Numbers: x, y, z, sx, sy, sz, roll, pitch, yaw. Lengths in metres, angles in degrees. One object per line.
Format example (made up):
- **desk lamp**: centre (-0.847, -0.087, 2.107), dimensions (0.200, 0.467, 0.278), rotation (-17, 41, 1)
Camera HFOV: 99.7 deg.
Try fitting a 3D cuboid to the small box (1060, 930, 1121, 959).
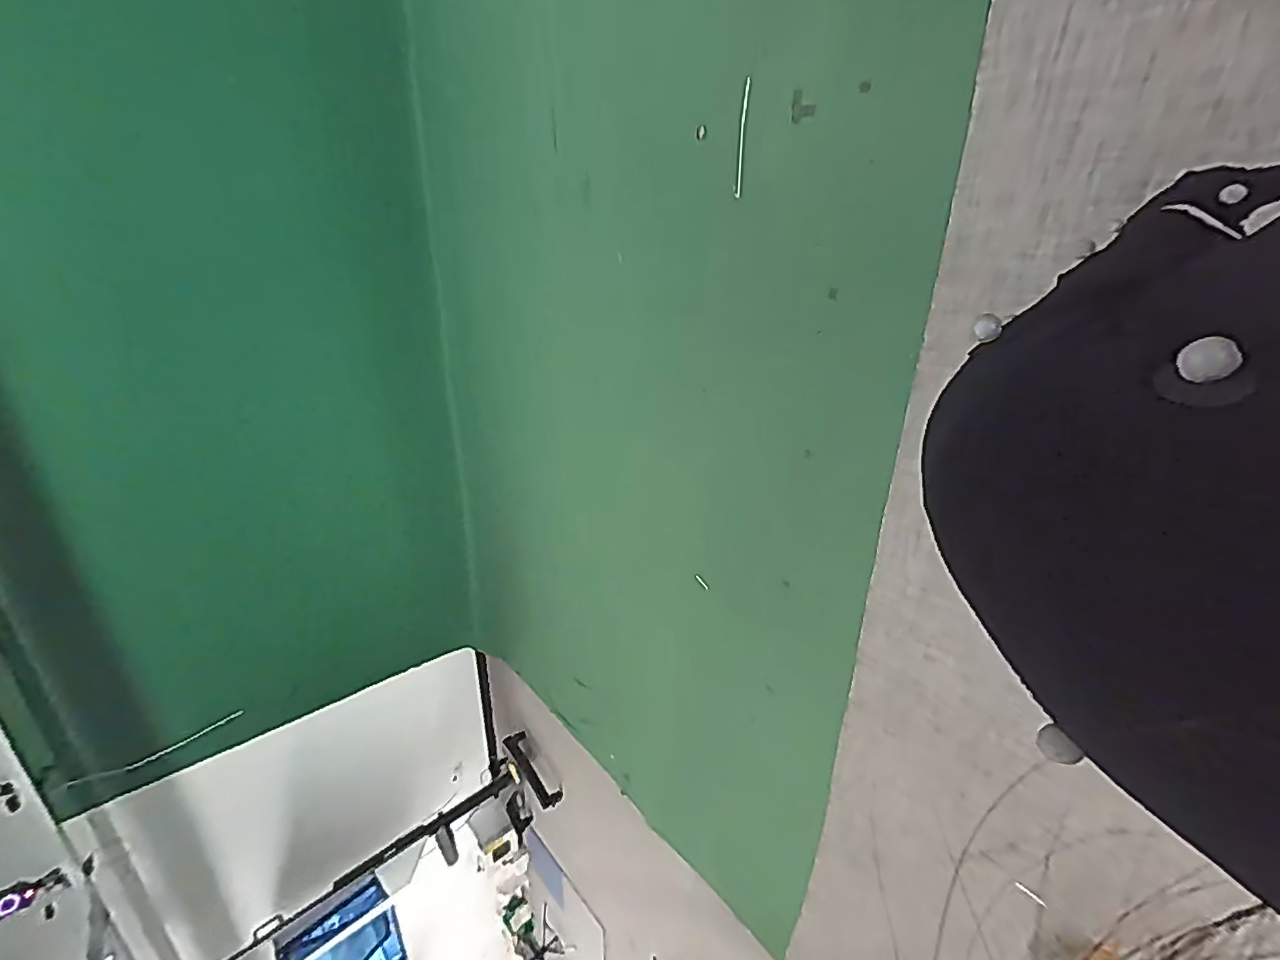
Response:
- **small box**: centre (1.173, 1.323, 1.384), dimensions (0.168, 0.176, 0.179), rotation (24, 122, 44)
